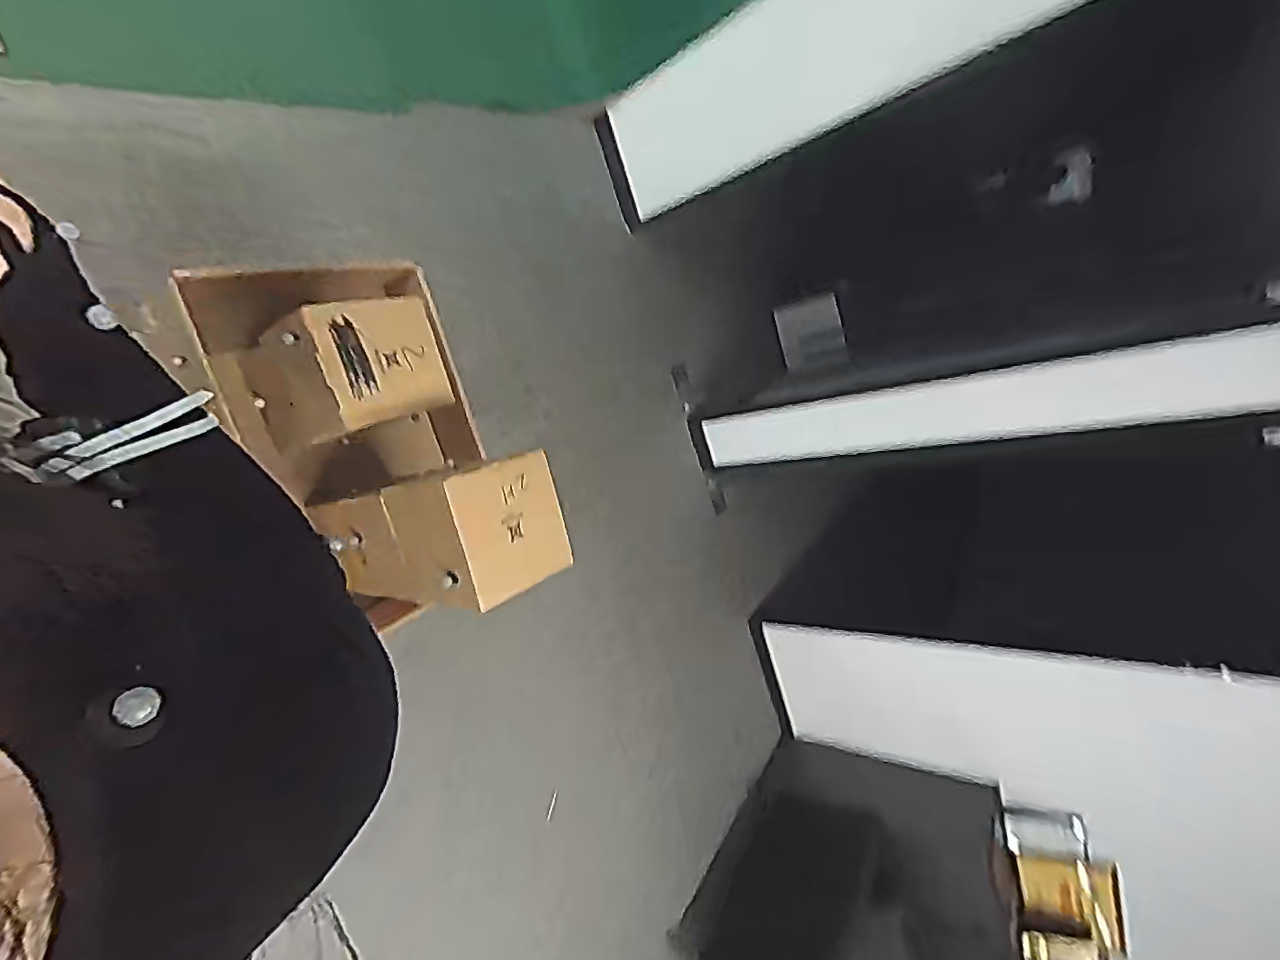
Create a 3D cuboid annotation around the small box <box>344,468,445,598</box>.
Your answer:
[{"bbox_3d":[-0.344,0.075,0.881,0.179,0.176,0.168,-25,104,-46],"label":"small box"}]

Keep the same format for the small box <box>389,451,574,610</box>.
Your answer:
[{"bbox_3d":[-0.224,0.065,0.768,0.168,0.176,0.179,-22,102,-48],"label":"small box"}]
